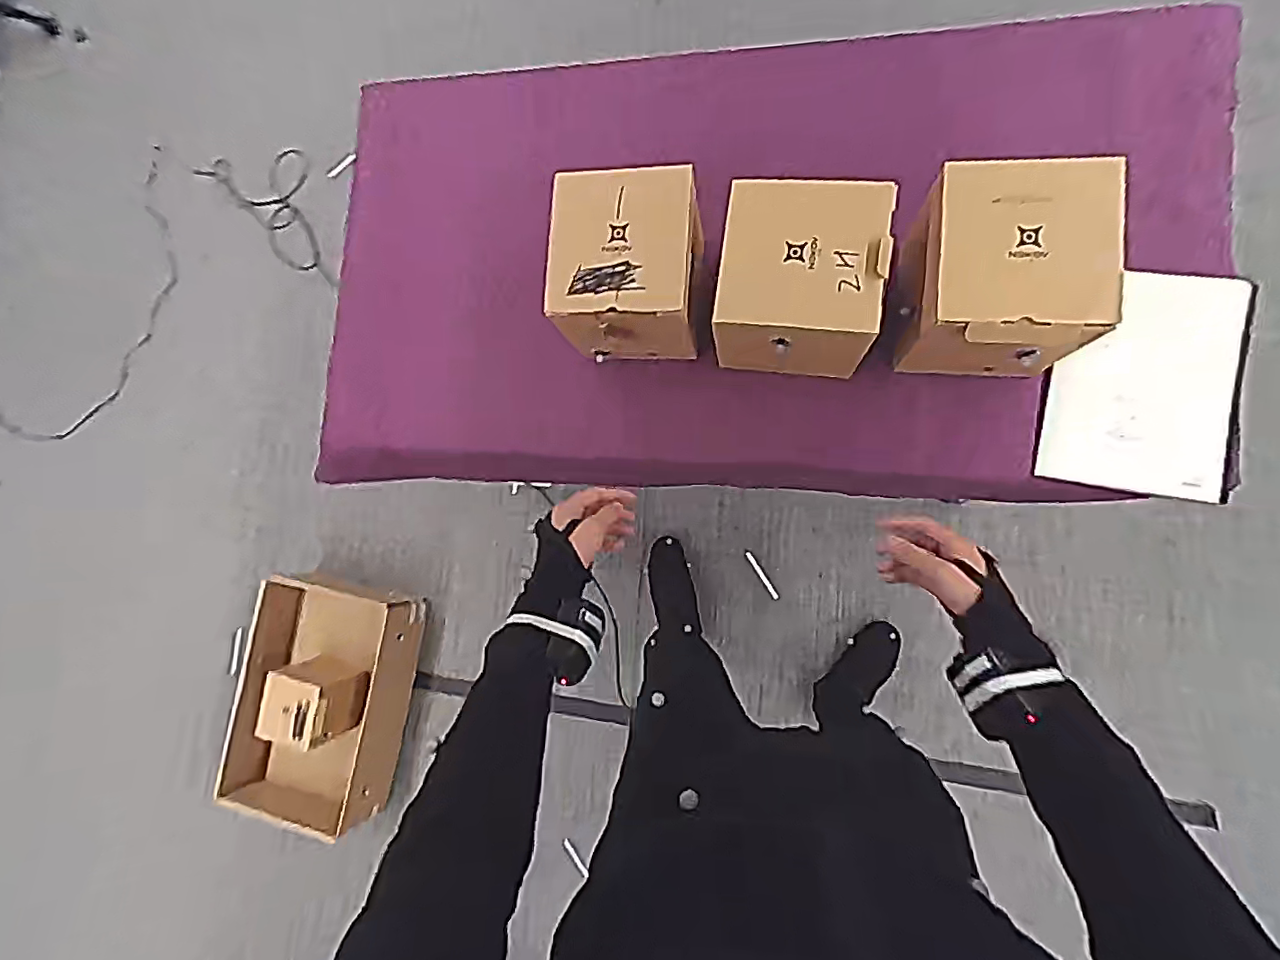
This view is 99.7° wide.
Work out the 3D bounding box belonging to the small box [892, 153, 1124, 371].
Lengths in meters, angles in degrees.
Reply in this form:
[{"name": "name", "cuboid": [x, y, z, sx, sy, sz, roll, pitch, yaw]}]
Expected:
[{"name": "small box", "cuboid": [0.396, -0.230, 0.612, 0.168, 0.176, 0.179, 5, 85, 11]}]
